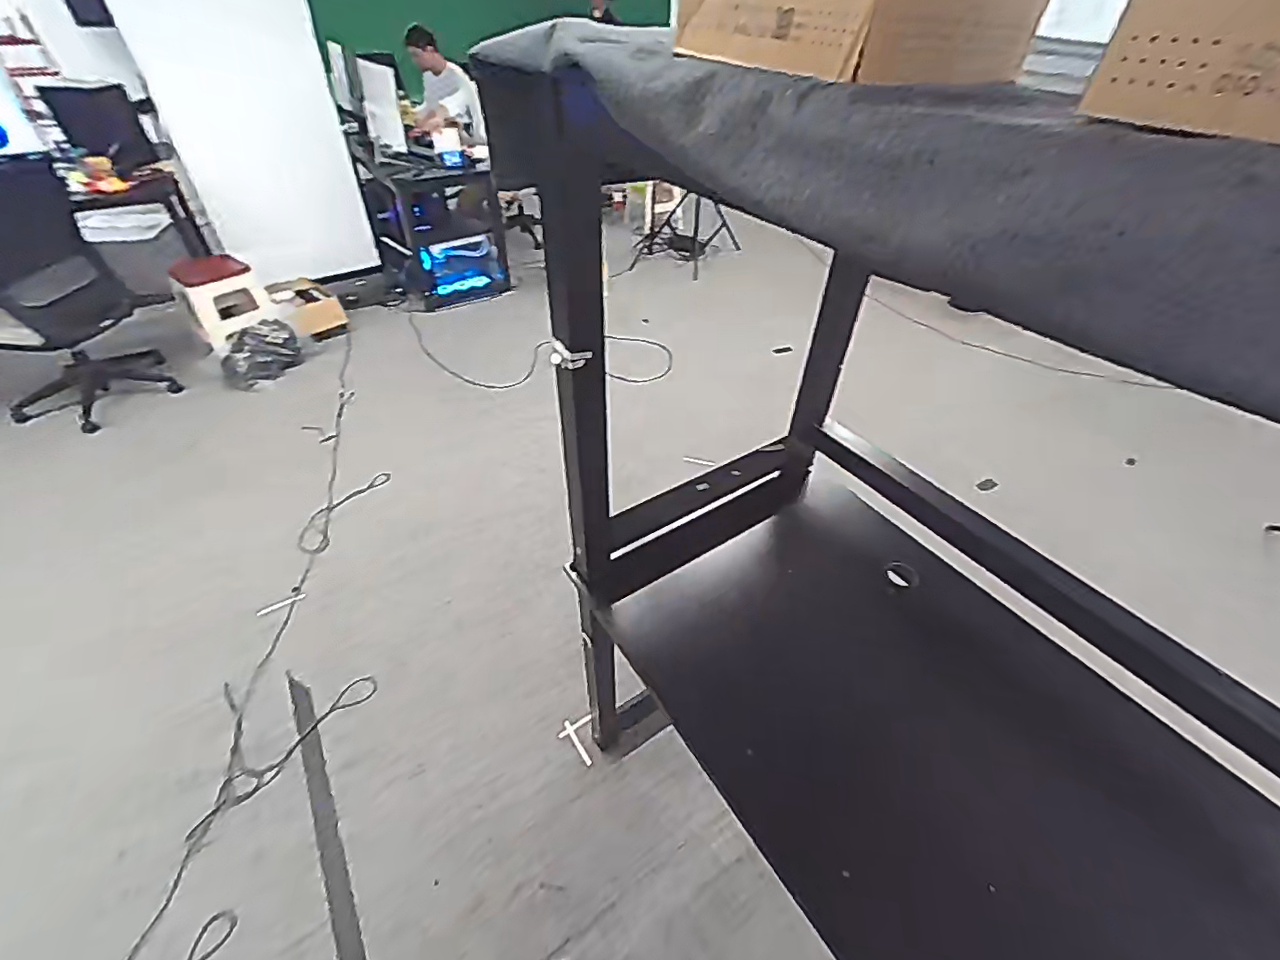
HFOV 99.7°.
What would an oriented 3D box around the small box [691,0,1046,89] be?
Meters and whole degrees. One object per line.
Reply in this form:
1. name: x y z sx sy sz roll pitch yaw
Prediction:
1. small box: 0.149 -0.350 0.323 0.179 0.176 0.168 -23 49 -27
